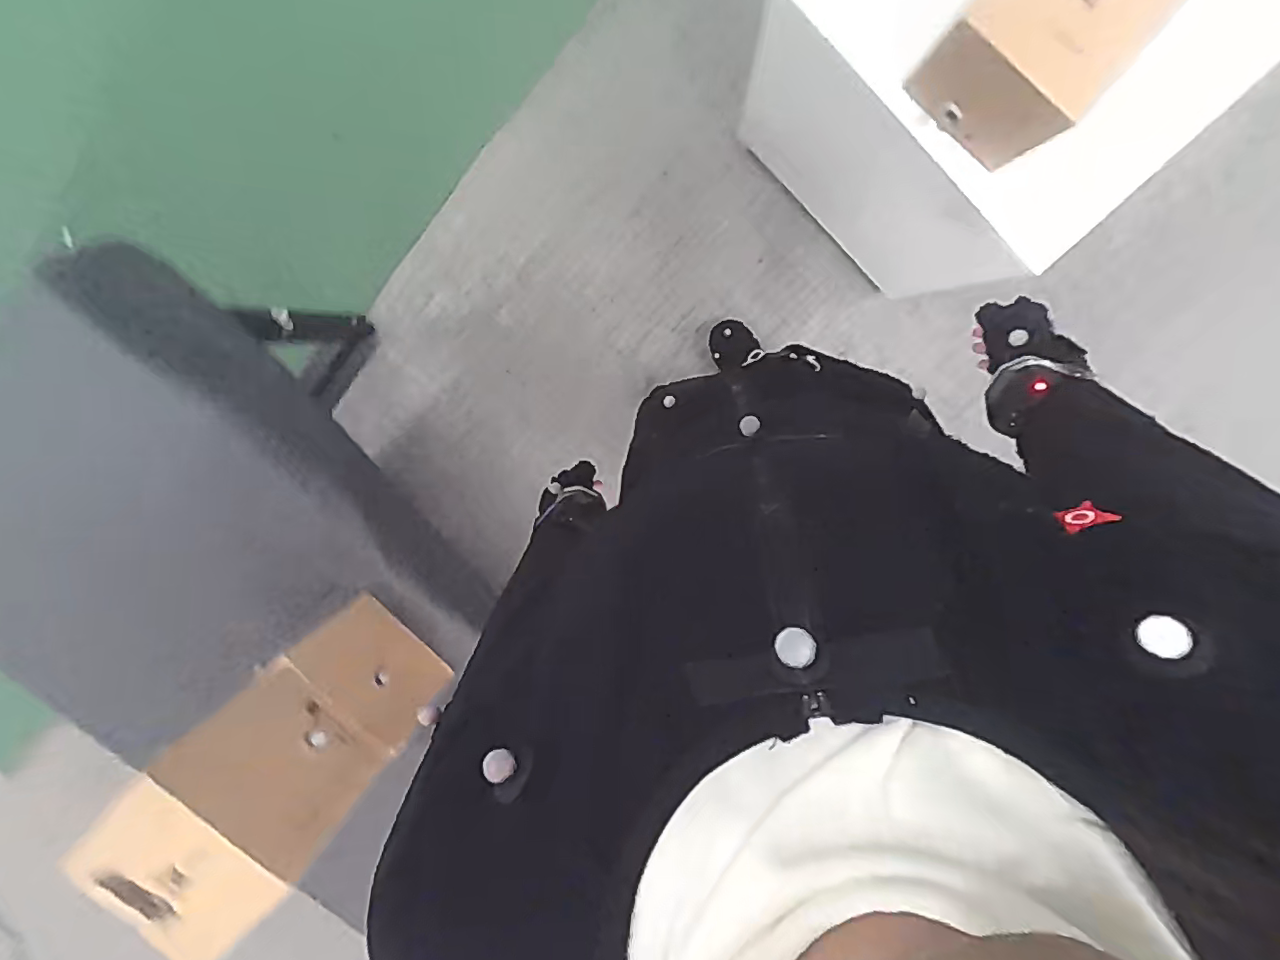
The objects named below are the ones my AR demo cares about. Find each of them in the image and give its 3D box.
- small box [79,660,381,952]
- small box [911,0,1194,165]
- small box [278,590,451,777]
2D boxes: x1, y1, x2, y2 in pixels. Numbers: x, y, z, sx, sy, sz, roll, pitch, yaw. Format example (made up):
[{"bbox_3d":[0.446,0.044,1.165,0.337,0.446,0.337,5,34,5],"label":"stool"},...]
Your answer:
[{"bbox_3d":[-0.422,0.337,0.583,0.168,0.176,0.179,41,108,-4],"label":"small box"},{"bbox_3d":[0.432,-0.485,0.578,0.168,0.176,0.179,38,107,-4],"label":"small box"},{"bbox_3d":[-0.395,0.285,0.737,0.168,0.176,0.179,-43,97,16],"label":"small box"}]
